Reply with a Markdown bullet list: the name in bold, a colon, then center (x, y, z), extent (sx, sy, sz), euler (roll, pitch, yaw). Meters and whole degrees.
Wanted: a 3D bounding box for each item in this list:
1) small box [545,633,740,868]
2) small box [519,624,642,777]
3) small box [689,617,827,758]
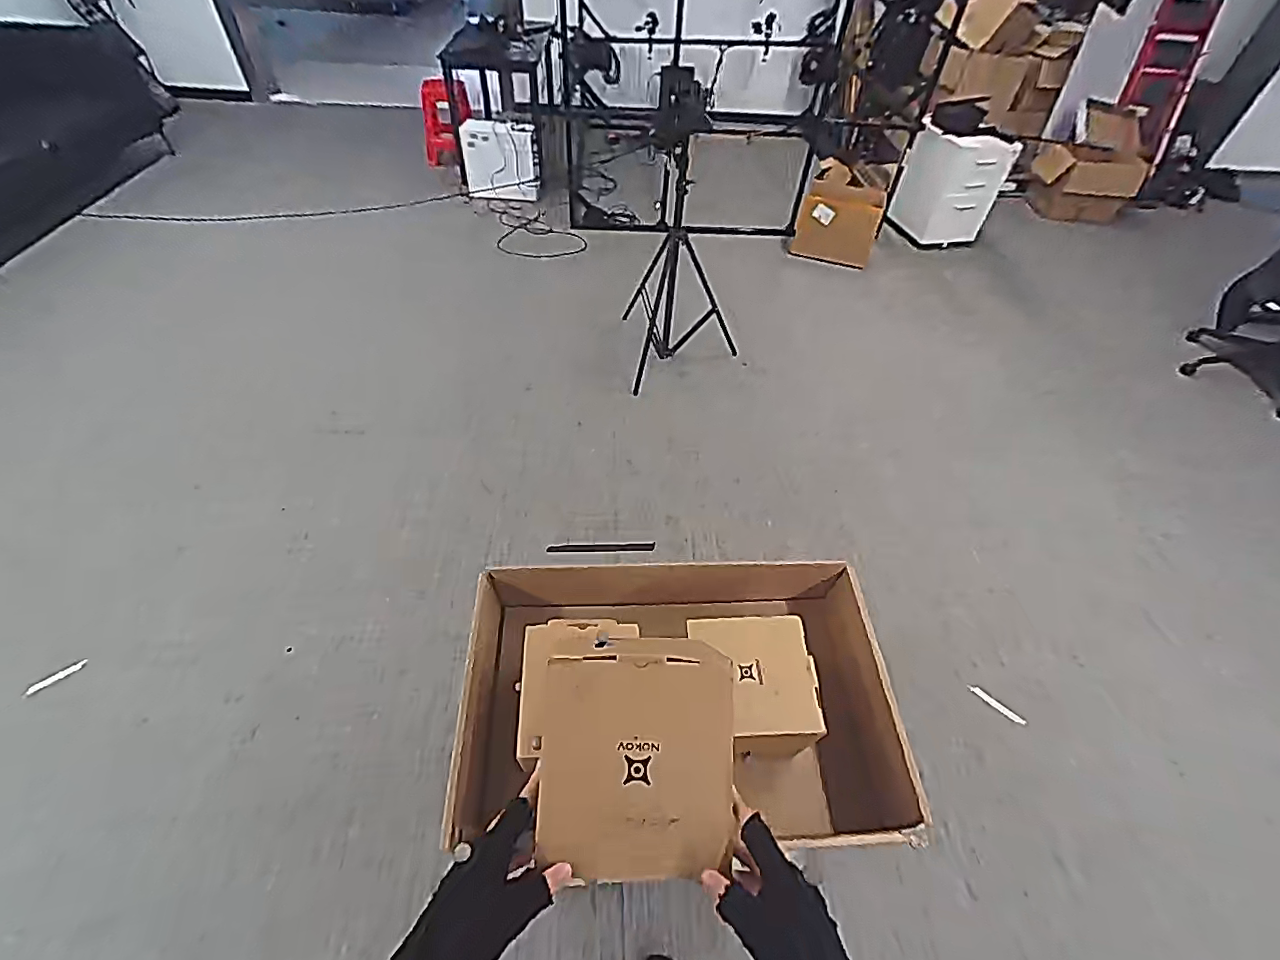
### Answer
- **small box**: center (0.000, 0.250, 0.540), extent (0.168, 0.176, 0.179), euler (2, 80, -2)
- **small box**: center (-0.082, 0.329, 0.803), extent (0.168, 0.176, 0.179), euler (0, 54, -5)
- **small box**: center (0.159, 0.320, 0.828), extent (0.179, 0.176, 0.168), euler (-1, 53, -3)
